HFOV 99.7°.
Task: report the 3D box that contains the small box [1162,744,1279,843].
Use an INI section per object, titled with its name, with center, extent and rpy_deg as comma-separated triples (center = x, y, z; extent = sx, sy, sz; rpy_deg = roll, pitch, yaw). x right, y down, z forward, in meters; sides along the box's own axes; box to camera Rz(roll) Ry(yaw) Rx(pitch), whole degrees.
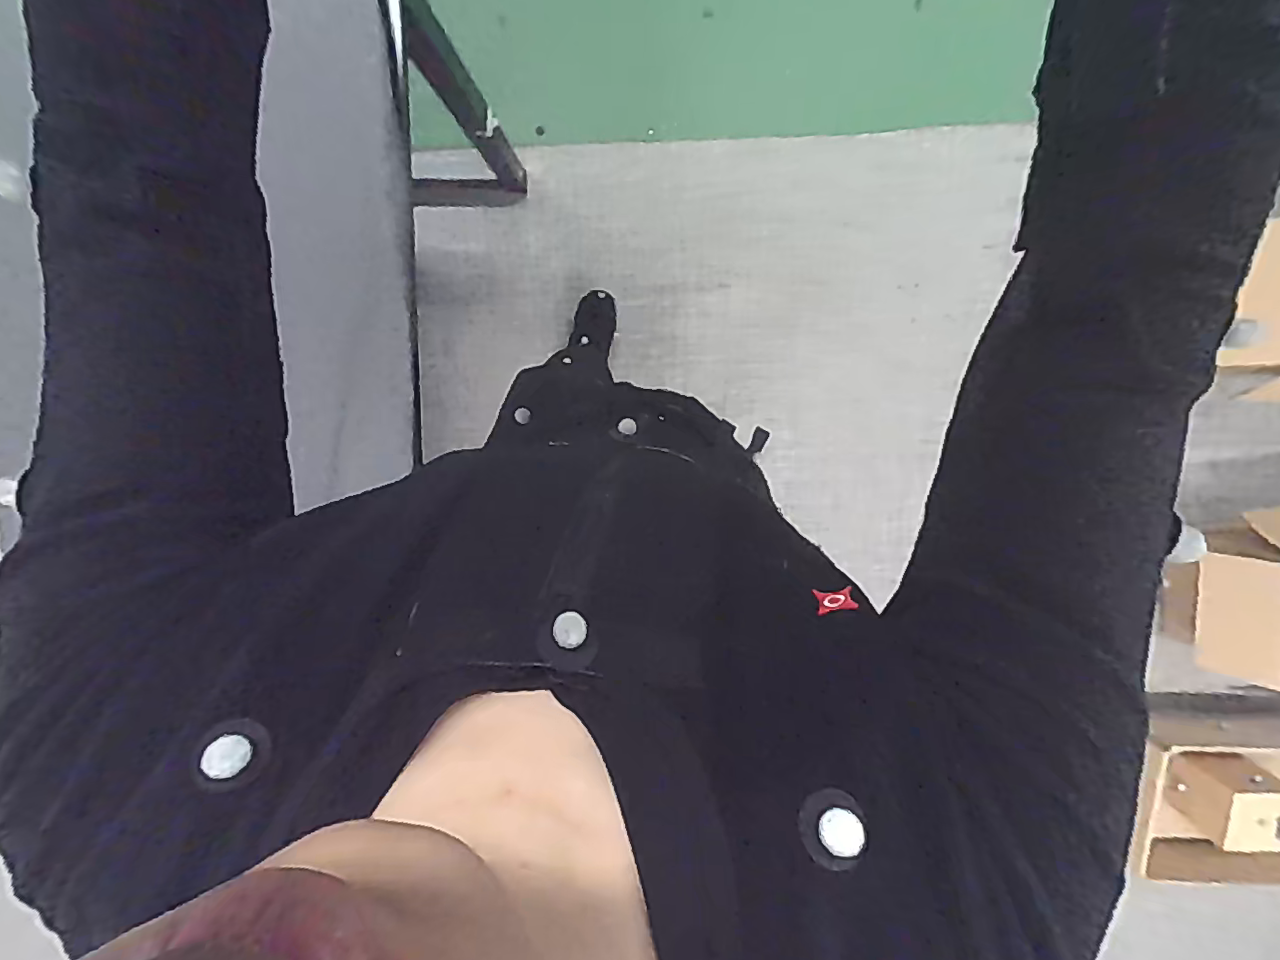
[small box]
center = 1.565, 0.826, 1.438
extent = 0.179, 0.176, 0.168
rpy_deg = 0, 100, 1
